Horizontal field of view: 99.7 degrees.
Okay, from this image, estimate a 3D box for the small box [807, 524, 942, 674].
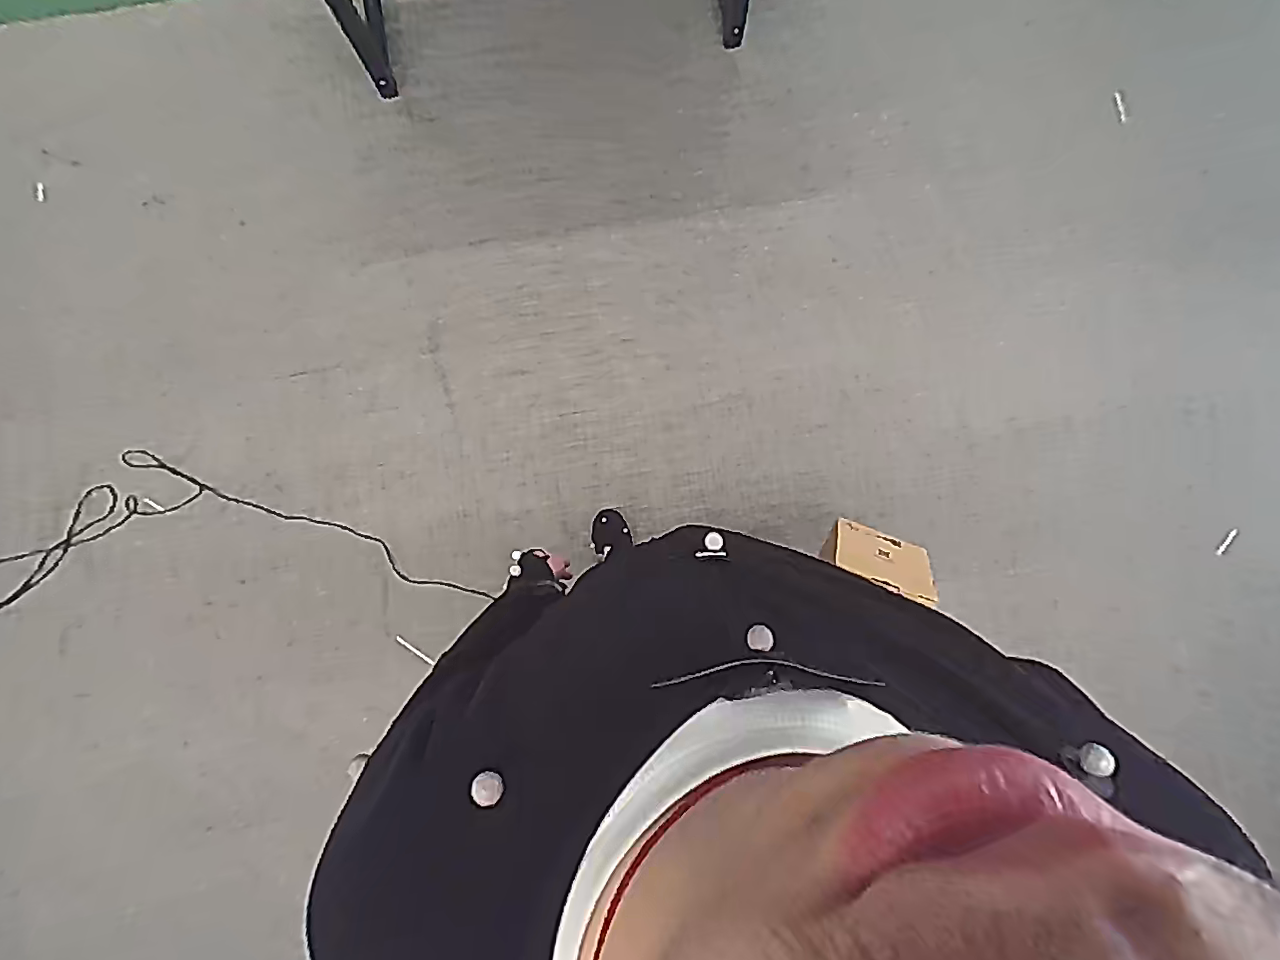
[{"bbox_3d":[0.408,0.211,0.966,0.168,0.179,0.176,19,118,11],"label":"small box"}]
